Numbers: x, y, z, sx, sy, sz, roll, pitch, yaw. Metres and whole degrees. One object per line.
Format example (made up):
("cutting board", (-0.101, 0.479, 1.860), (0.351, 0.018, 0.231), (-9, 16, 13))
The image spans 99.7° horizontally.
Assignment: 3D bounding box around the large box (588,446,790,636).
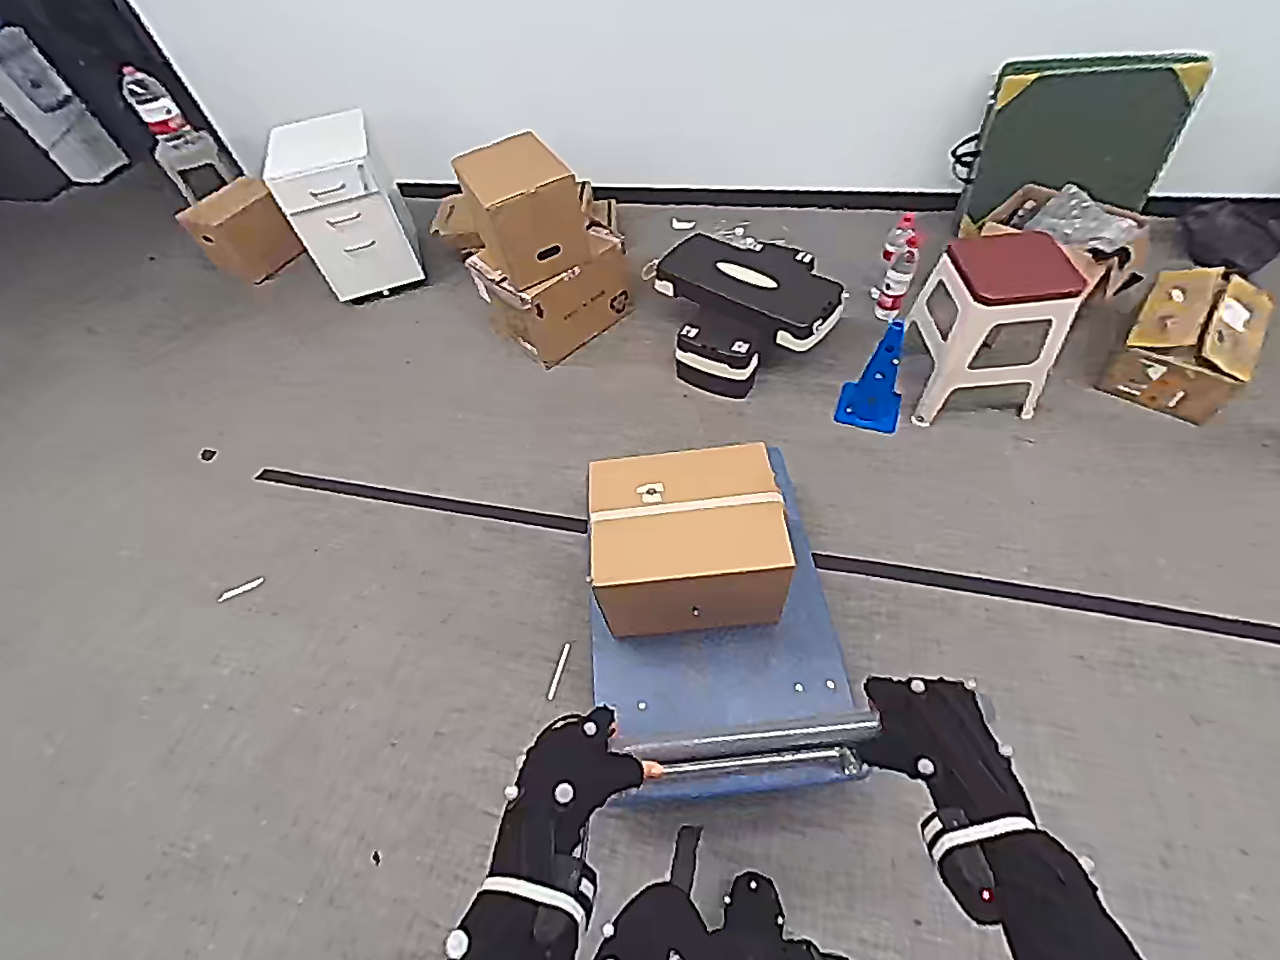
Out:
("large box", (0.106, 0.154, 1.273), (0.408, 0.320, 0.320), (-7, 55, 3))
